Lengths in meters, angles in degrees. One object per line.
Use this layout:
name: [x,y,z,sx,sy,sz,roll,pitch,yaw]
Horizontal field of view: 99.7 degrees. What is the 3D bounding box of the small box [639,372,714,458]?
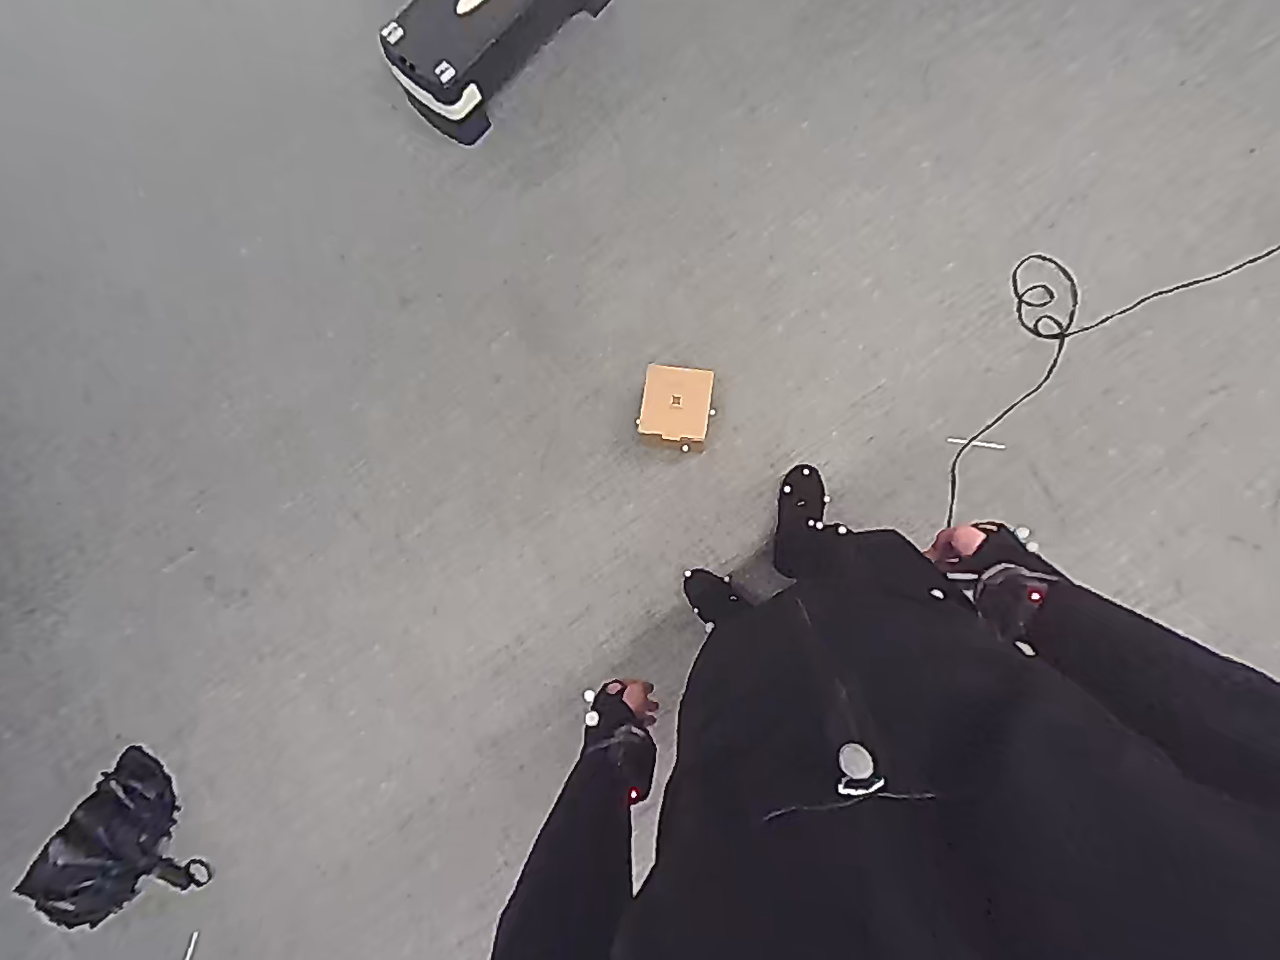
small box: [0.096,-0.160,1.398,0.168,0.176,0.179,7,82,5]
